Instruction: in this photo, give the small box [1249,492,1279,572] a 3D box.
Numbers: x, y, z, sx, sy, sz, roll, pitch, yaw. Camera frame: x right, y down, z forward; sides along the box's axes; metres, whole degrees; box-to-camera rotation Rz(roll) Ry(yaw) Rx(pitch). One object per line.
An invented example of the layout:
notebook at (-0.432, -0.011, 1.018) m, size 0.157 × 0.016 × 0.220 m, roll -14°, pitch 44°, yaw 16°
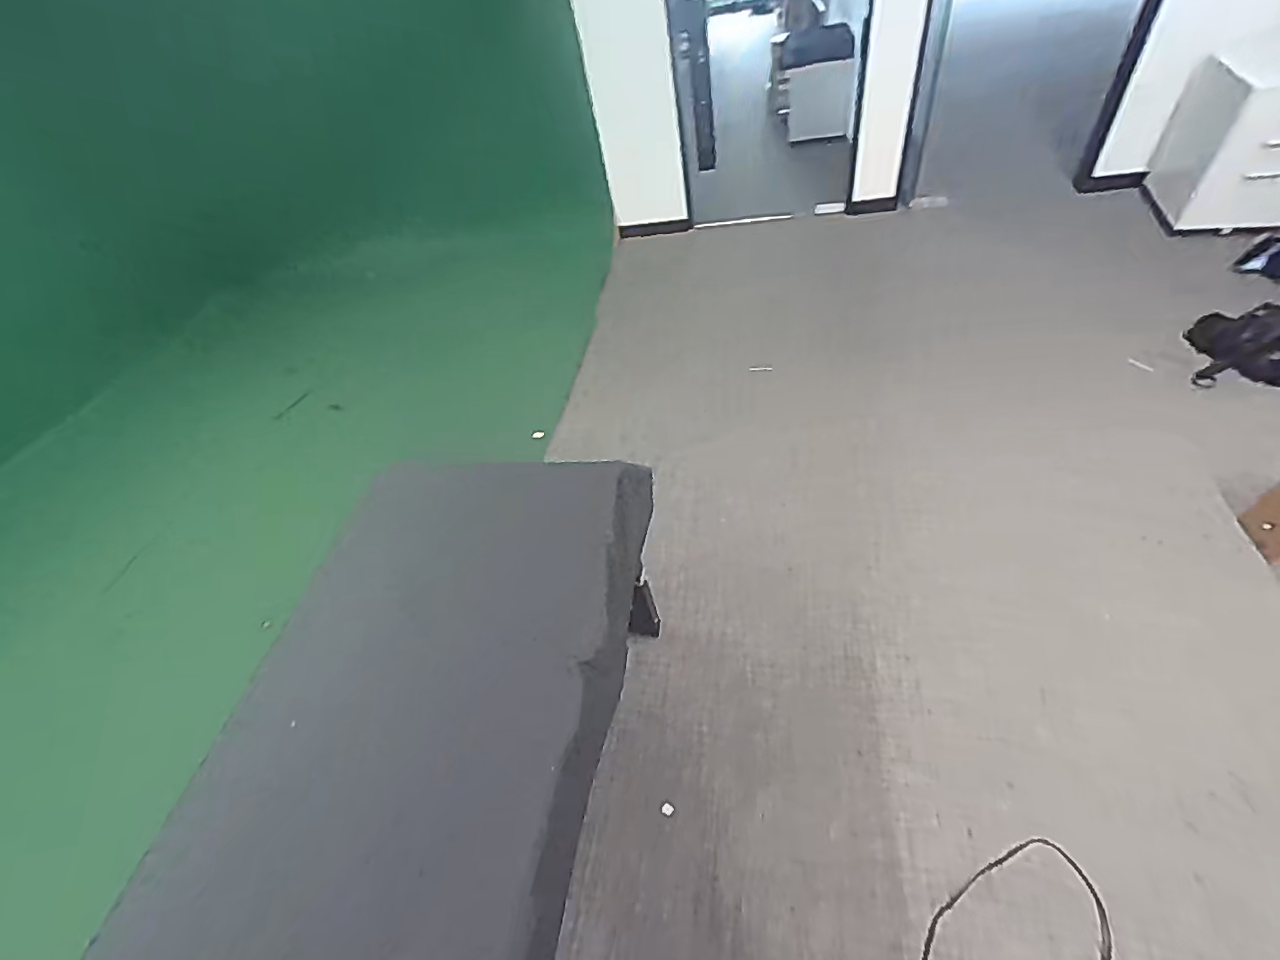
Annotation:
small box at (1.826, 0.145, 1.461) m, size 0.179 × 0.176 × 0.168 m, roll -1°, pitch 48°, yaw 13°
